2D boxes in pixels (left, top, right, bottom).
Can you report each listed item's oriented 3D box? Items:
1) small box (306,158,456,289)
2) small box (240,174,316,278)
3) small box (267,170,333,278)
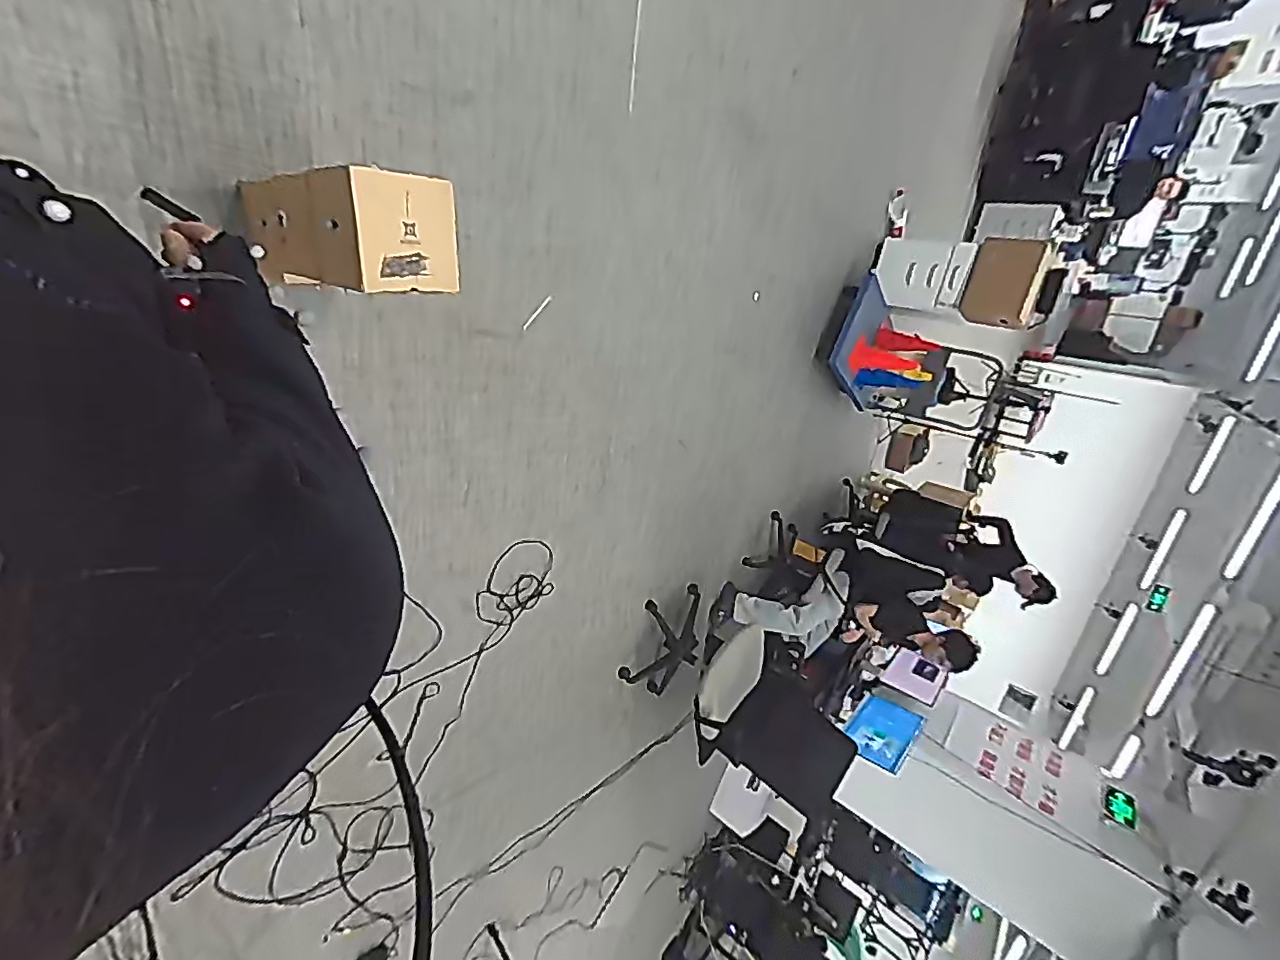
[{"bbox_3d":[-0.427,-0.418,0.900,0.168,0.176,0.179,-21,122,-45],"label":"small box"},{"bbox_3d":[-0.676,-0.506,1.094,0.168,0.176,0.179,-21,123,-45],"label":"small box"},{"bbox_3d":[-0.550,-0.466,0.998,0.179,0.176,0.168,-21,123,-44],"label":"small box"}]
